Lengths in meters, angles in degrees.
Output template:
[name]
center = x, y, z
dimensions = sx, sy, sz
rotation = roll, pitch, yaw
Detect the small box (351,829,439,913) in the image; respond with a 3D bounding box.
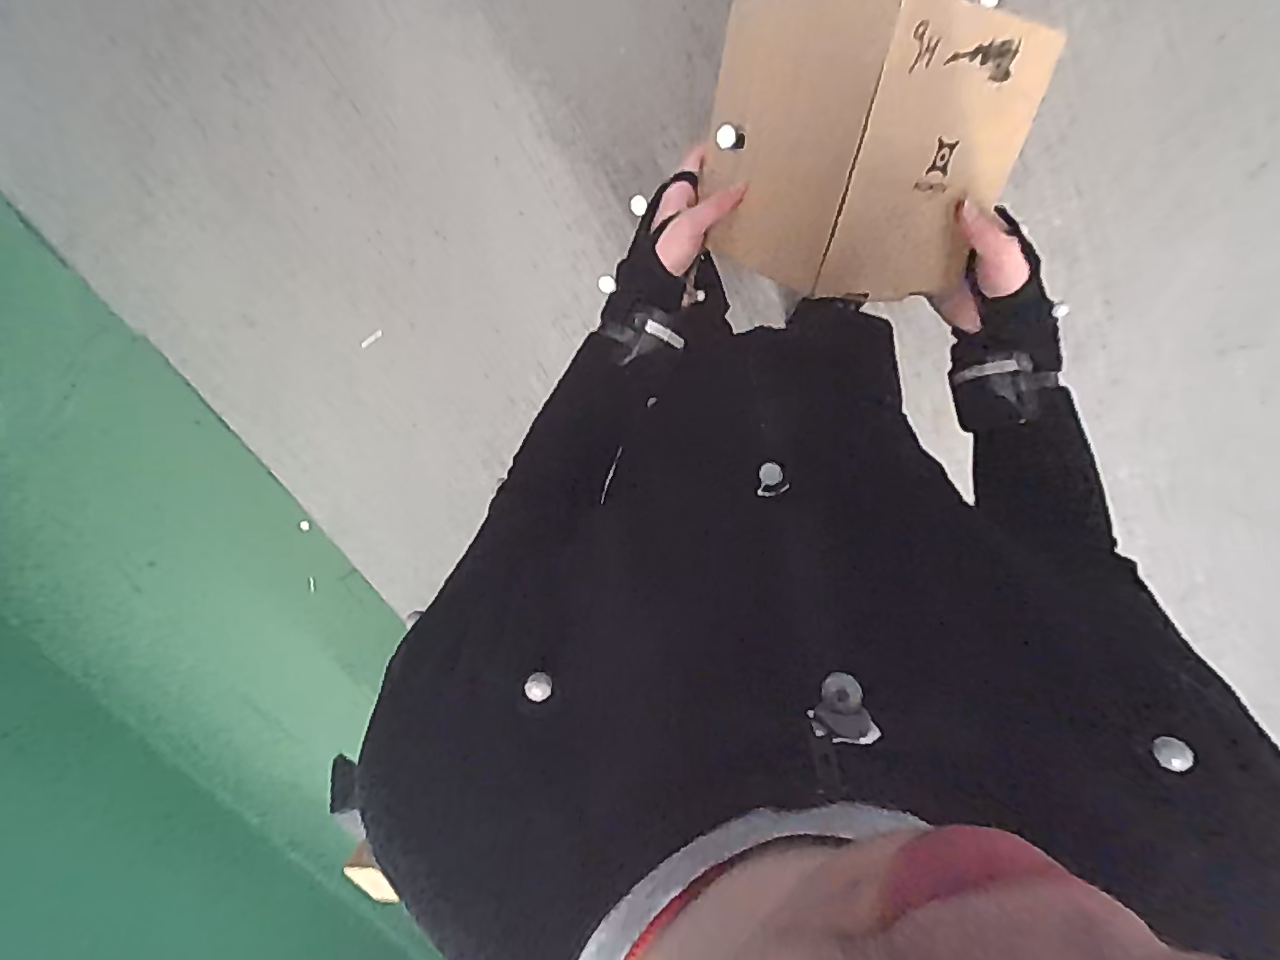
[small box]
center = -0.790, 1.274, 1.770
dimensions = 0.179, 0.176, 0.168
rotation = -21, 110, 28
